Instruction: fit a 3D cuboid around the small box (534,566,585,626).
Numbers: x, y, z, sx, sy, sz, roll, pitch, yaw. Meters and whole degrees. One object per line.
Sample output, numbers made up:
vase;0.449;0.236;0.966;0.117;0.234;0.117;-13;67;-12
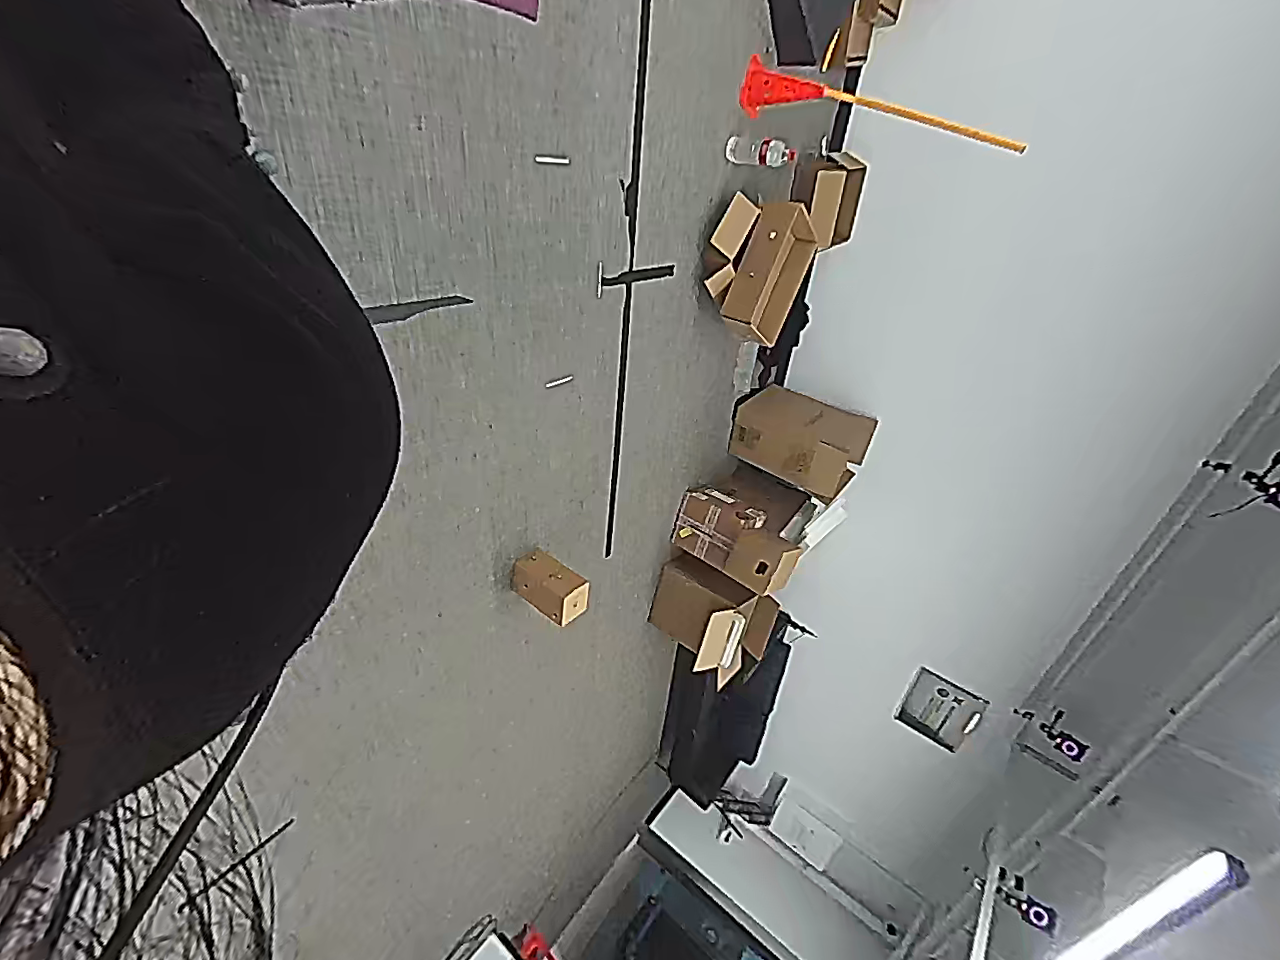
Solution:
small box;-0.373;0.528;2.478;0.168;0.176;0.179;-29;135;-47
